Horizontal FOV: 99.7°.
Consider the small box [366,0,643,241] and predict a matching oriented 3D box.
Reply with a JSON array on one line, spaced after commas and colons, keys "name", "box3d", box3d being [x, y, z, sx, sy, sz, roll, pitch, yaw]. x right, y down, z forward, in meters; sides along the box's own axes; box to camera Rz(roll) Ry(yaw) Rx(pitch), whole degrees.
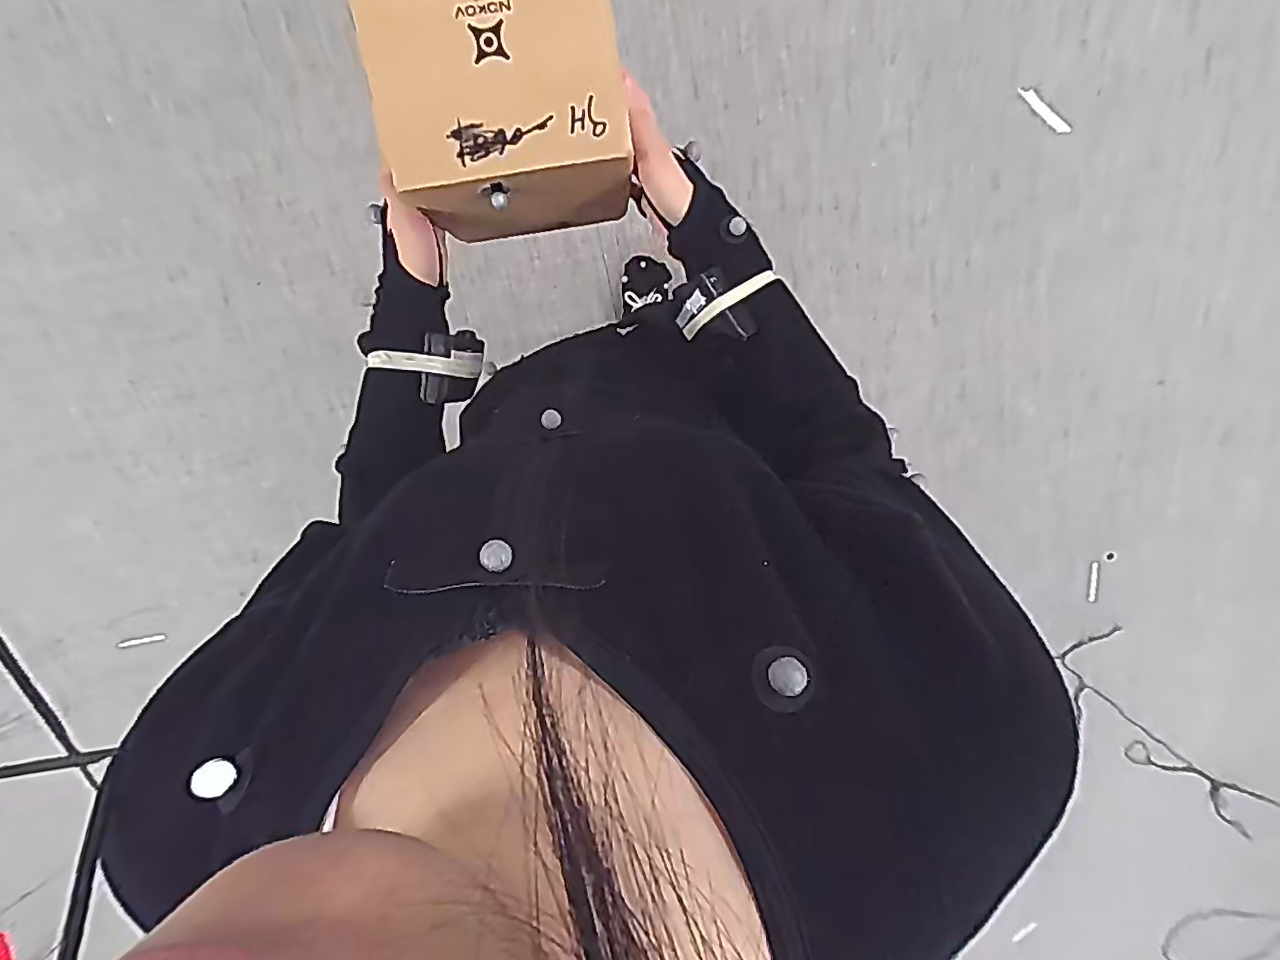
[{"name": "small box", "box3d": [-0.095, -0.308, 0.425, 0.168, 0.176, 0.179, -9, 103, -2]}]

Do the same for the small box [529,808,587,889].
[{"name": "small box", "box3d": [-0.280, 1.266, 1.866, 0.179, 0.176, 0.168, 4, 108, -5]}]
